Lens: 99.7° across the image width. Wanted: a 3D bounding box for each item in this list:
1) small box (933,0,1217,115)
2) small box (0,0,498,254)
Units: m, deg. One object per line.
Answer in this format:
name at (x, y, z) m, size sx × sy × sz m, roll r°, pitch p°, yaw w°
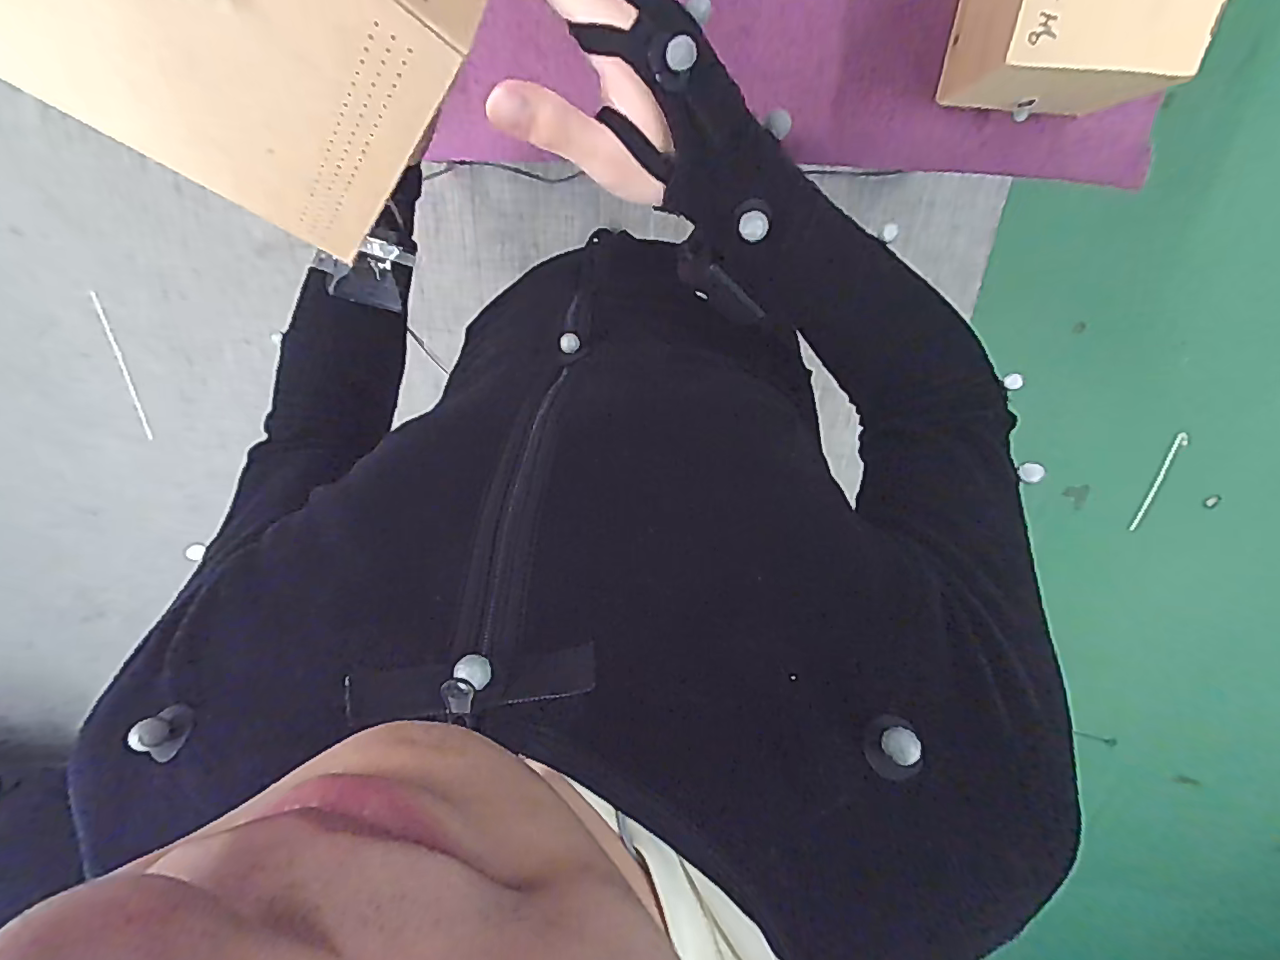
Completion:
small box at (0.440, -0.490, 0.552) m, size 0.179 × 0.176 × 0.168 m, roll 6°, pitch 114°, yaw 2°
small box at (-0.169, -0.251, 0.257) m, size 0.176 × 0.168 × 0.179 m, roll 24°, pitch 154°, yaw -36°
